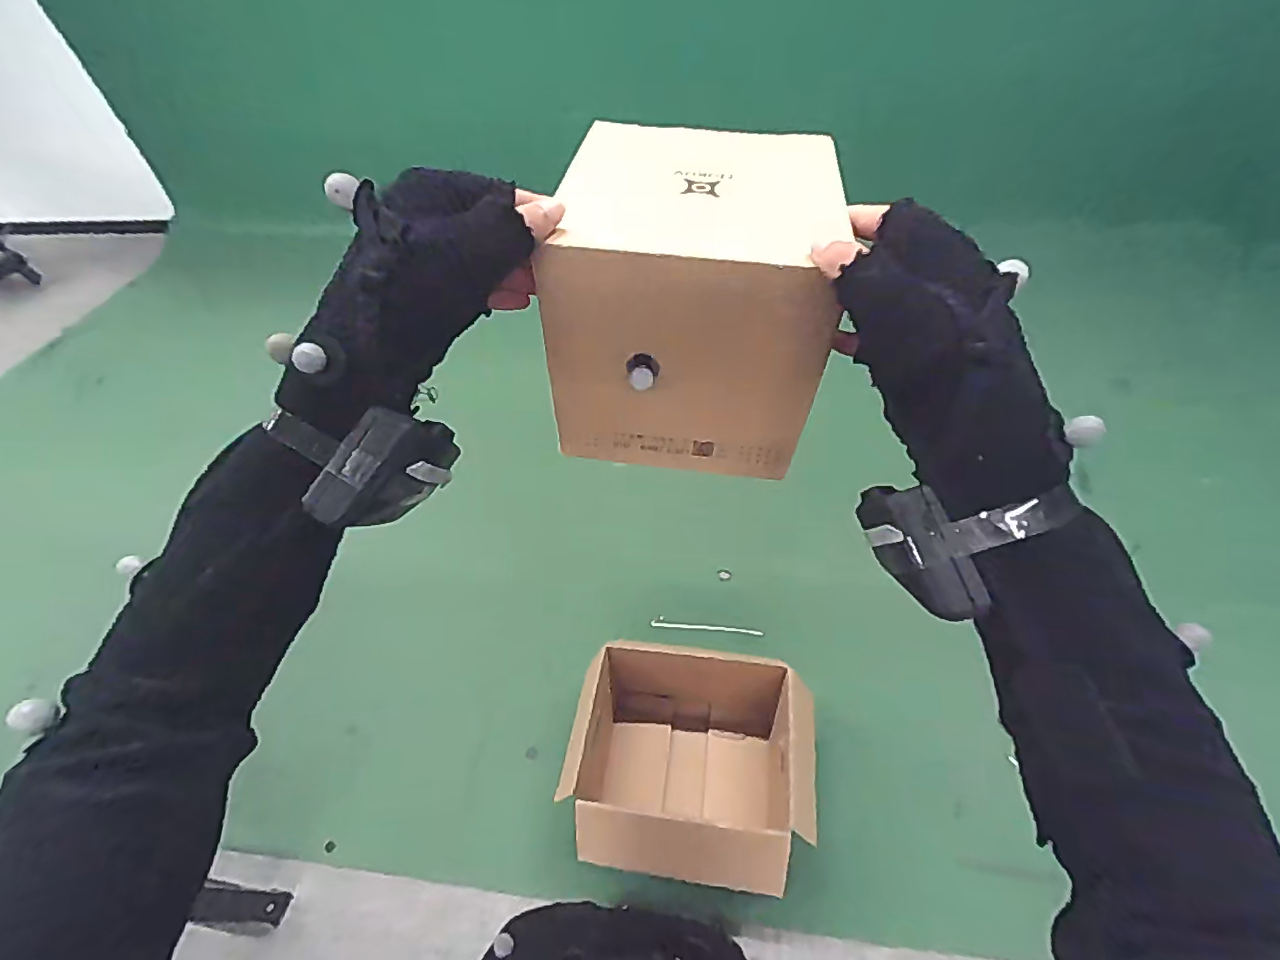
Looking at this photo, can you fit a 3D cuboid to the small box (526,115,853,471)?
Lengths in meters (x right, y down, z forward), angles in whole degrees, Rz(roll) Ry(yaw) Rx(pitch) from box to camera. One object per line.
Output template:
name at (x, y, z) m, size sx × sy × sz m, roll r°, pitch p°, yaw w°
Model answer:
small box at (0.034, -0.126, 0.377) m, size 0.168 × 0.176 × 0.179 m, roll 7°, pitch 52°, yaw 4°
